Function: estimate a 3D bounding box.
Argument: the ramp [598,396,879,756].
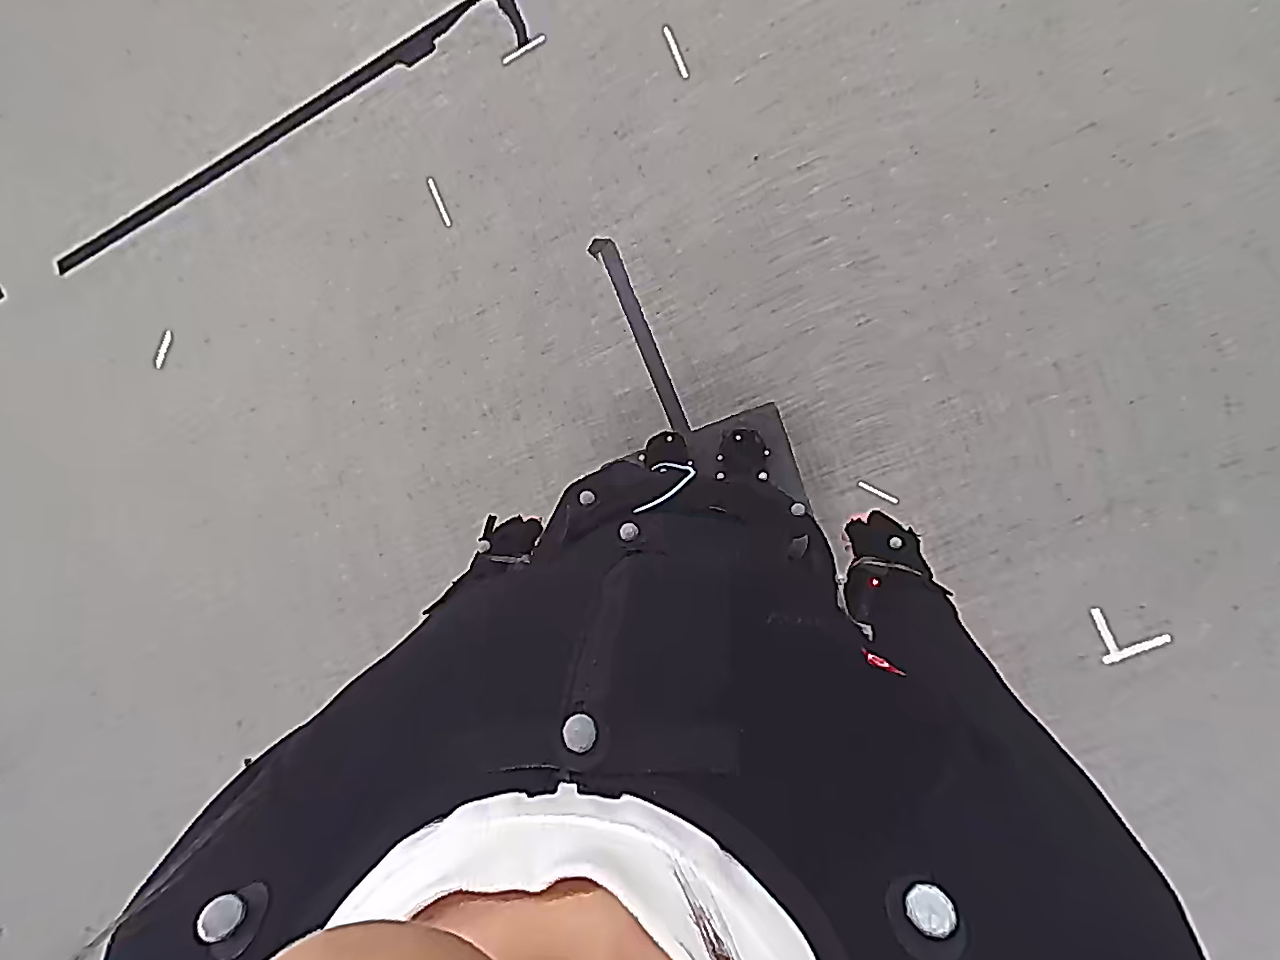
[{"bbox_3d":[0.297,0.312,1.515,0.509,0.206,0.991,-22,92,8],"label":"ramp"}]
